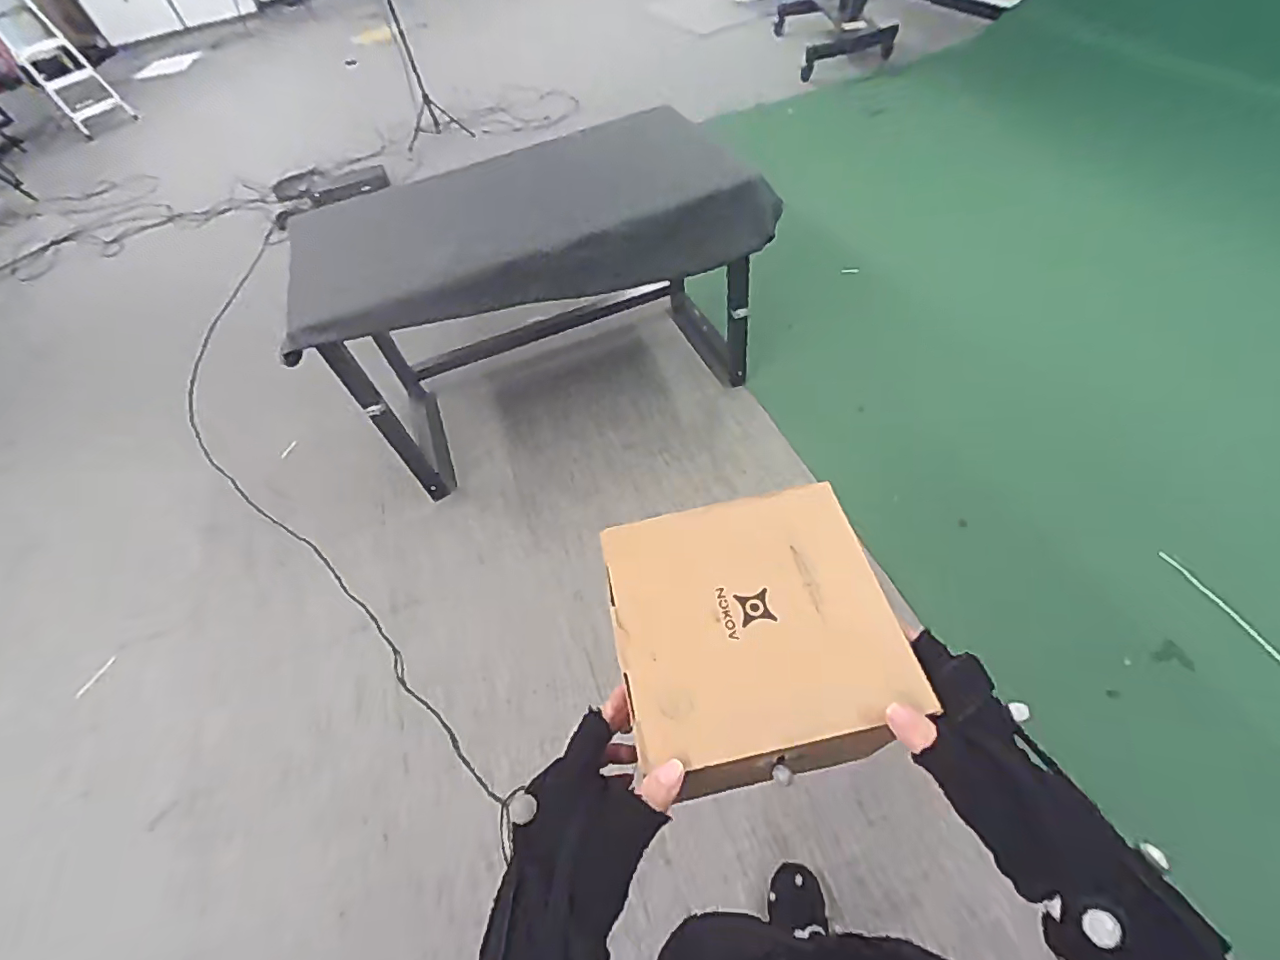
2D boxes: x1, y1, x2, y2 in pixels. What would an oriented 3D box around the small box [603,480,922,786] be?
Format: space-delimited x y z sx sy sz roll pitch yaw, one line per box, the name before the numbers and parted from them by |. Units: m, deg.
small box | 0.078 0.128 0.430 0.179 0.176 0.168 -12 55 -4
